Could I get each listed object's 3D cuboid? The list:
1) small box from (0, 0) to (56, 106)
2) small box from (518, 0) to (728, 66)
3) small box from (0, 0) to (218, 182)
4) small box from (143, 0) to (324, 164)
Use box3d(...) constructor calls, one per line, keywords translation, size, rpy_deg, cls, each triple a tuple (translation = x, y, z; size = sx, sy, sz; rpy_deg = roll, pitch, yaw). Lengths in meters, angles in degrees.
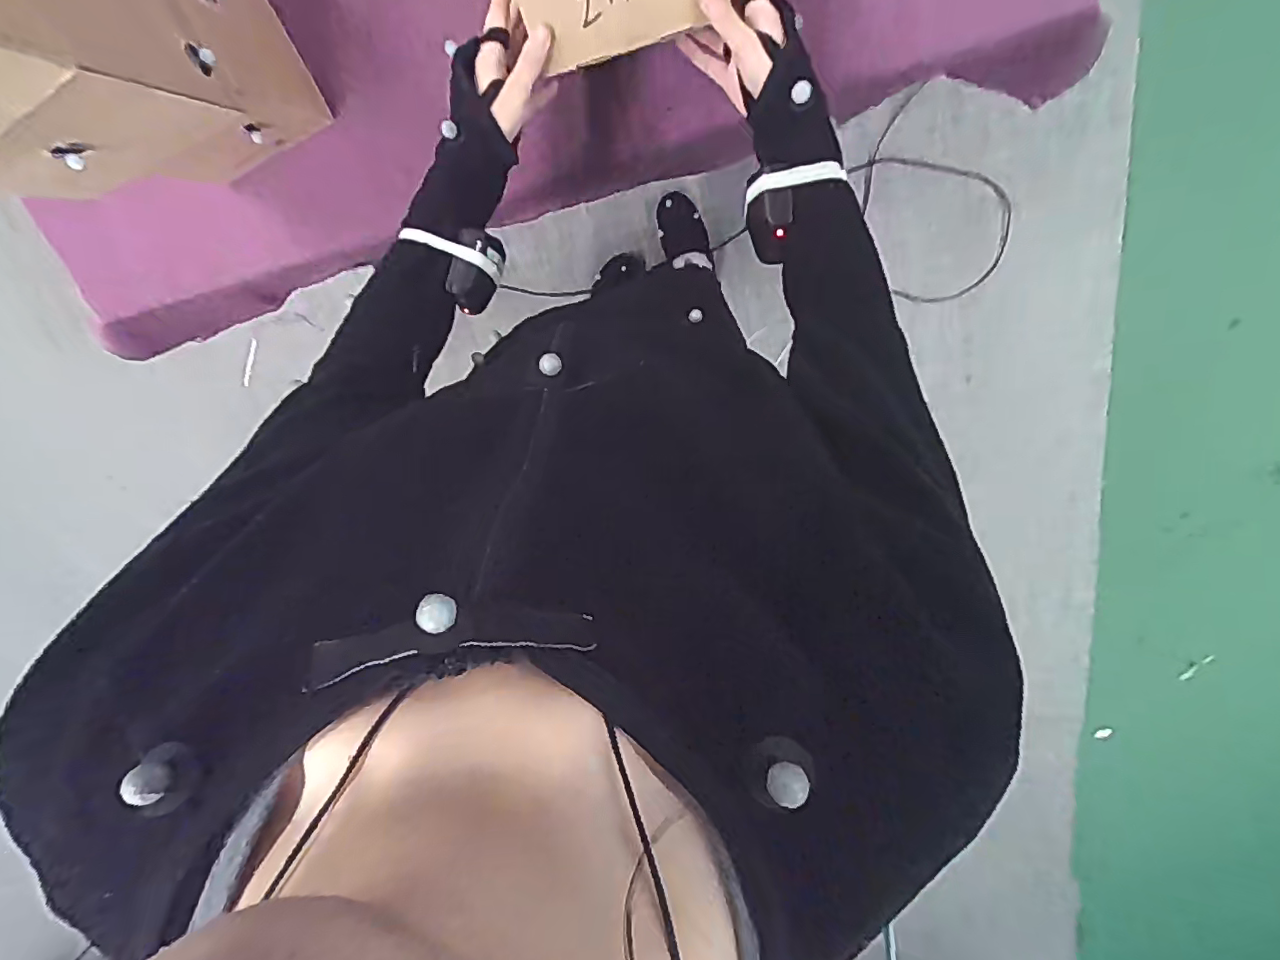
box3d(translation=(-0.442, -0.251, 0.231), size=(0.168, 0.176, 0.179), rpy_deg=(-23, 112, 12), cls="small box")
box3d(translation=(-0.032, -0.472, 0.418), size=(0.168, 0.176, 0.179), rpy_deg=(-12, 147, 5), cls="small box")
box3d(translation=(-0.449, -0.329, 0.374), size=(0.179, 0.176, 0.168), rpy_deg=(-20, 113, 11), cls="small box")
box3d(translation=(-0.449, -0.422, 0.511), size=(0.168, 0.176, 0.179), rpy_deg=(-19, 113, 10), cls="small box")
